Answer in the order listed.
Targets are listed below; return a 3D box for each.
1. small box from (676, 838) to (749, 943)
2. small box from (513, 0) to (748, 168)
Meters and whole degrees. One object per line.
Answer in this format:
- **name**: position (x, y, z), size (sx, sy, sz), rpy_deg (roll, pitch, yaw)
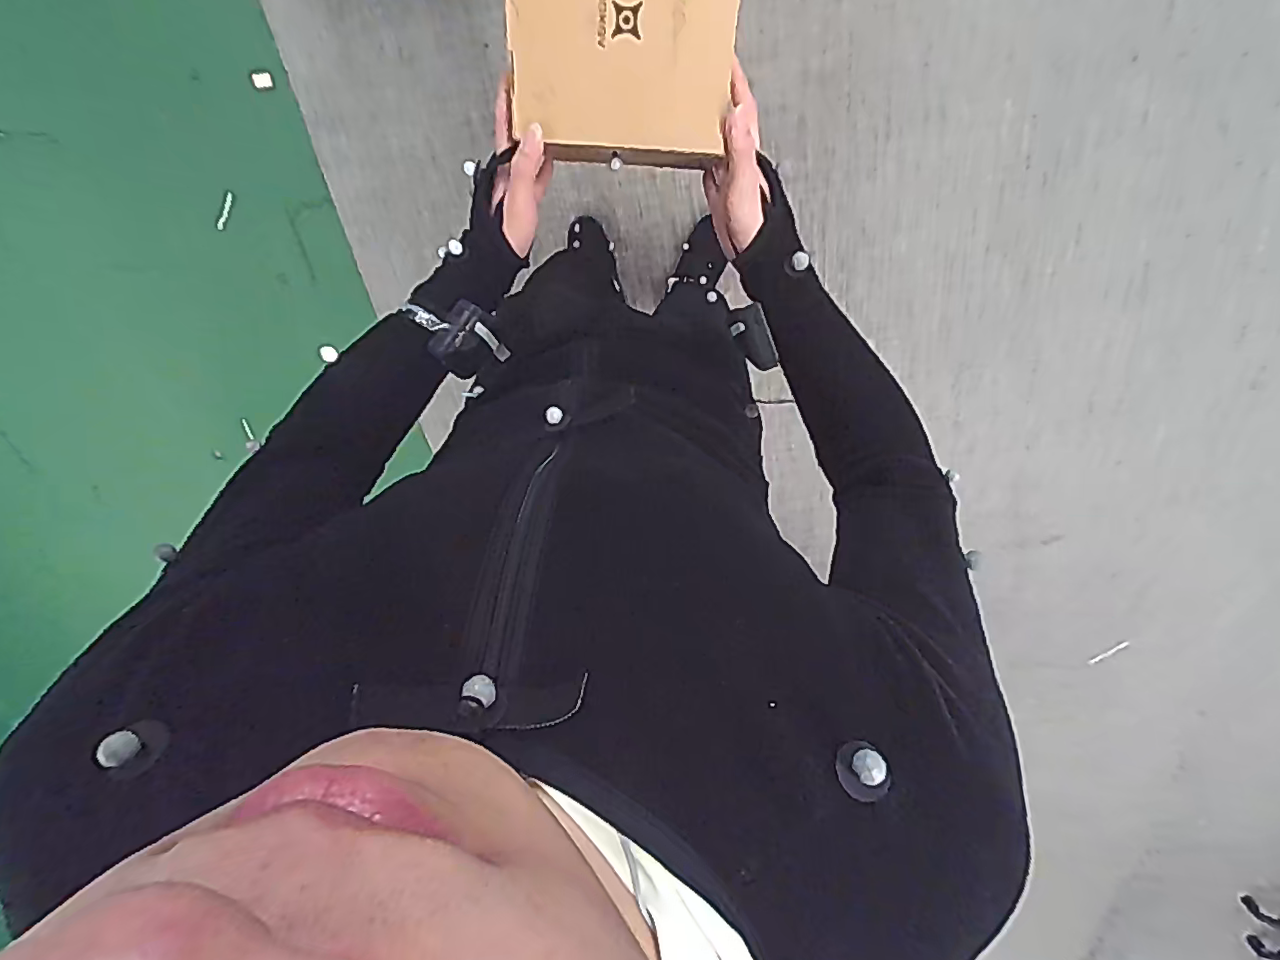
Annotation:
- **small box**: position (0.190, 1.060, 1.404), size (0.168, 0.176, 0.179), rpy_deg (-7, 119, 12)
- **small box**: position (-0.004, -0.378, 0.473), size (0.179, 0.176, 0.168), rpy_deg (4, 116, 1)
